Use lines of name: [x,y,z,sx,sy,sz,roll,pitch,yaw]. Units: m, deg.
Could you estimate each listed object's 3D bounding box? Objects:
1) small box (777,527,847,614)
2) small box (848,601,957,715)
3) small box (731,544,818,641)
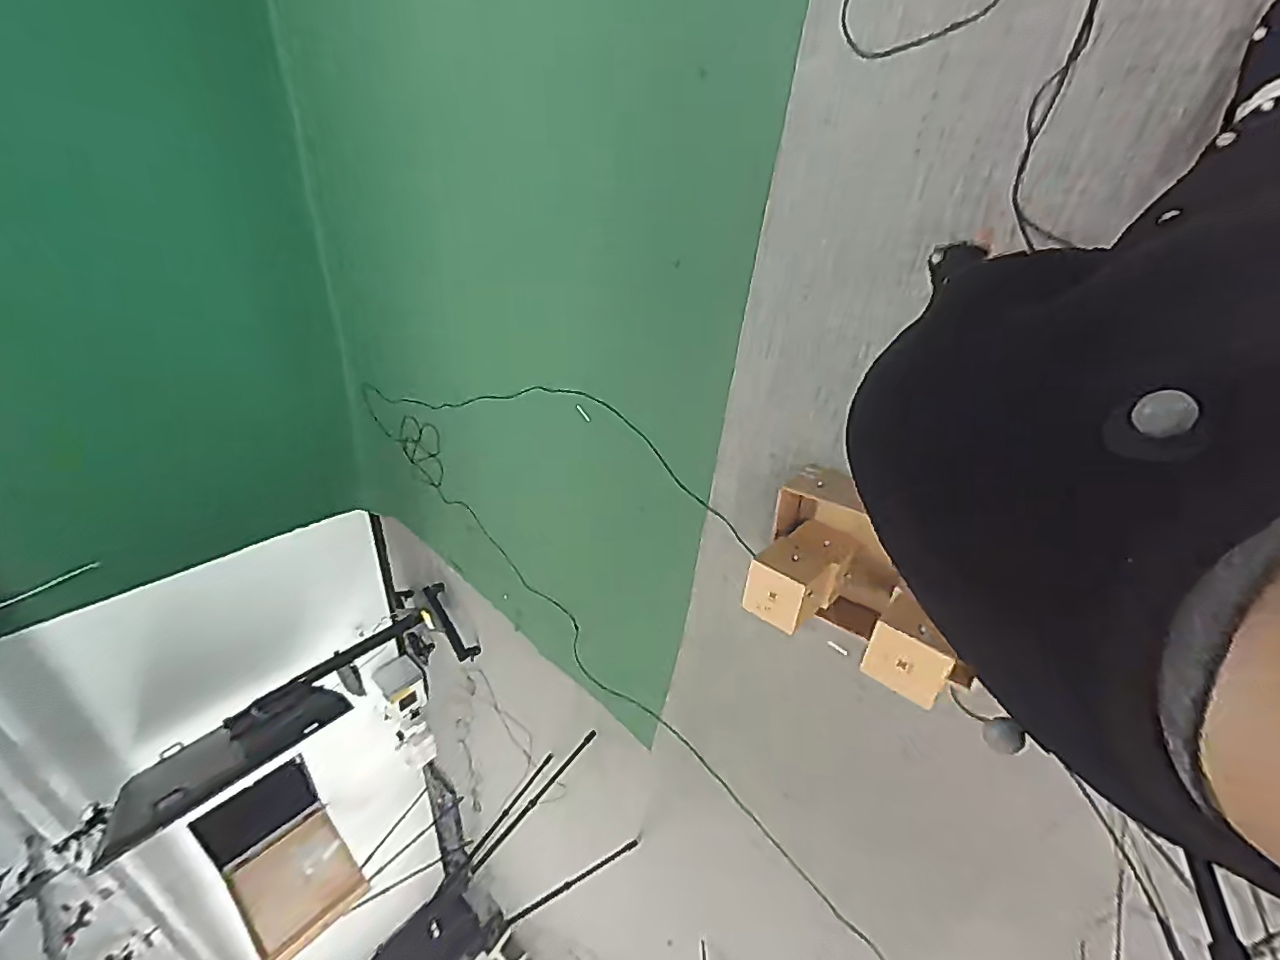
small box: [0.501,0.265,1.632,0.179,0.176,0.168,26,124,32]
small box: [0.647,0.427,1.330,0.179,0.176,0.168,27,123,34]
small box: [0.382,0.308,1.525,0.168,0.176,0.179,27,125,34]
